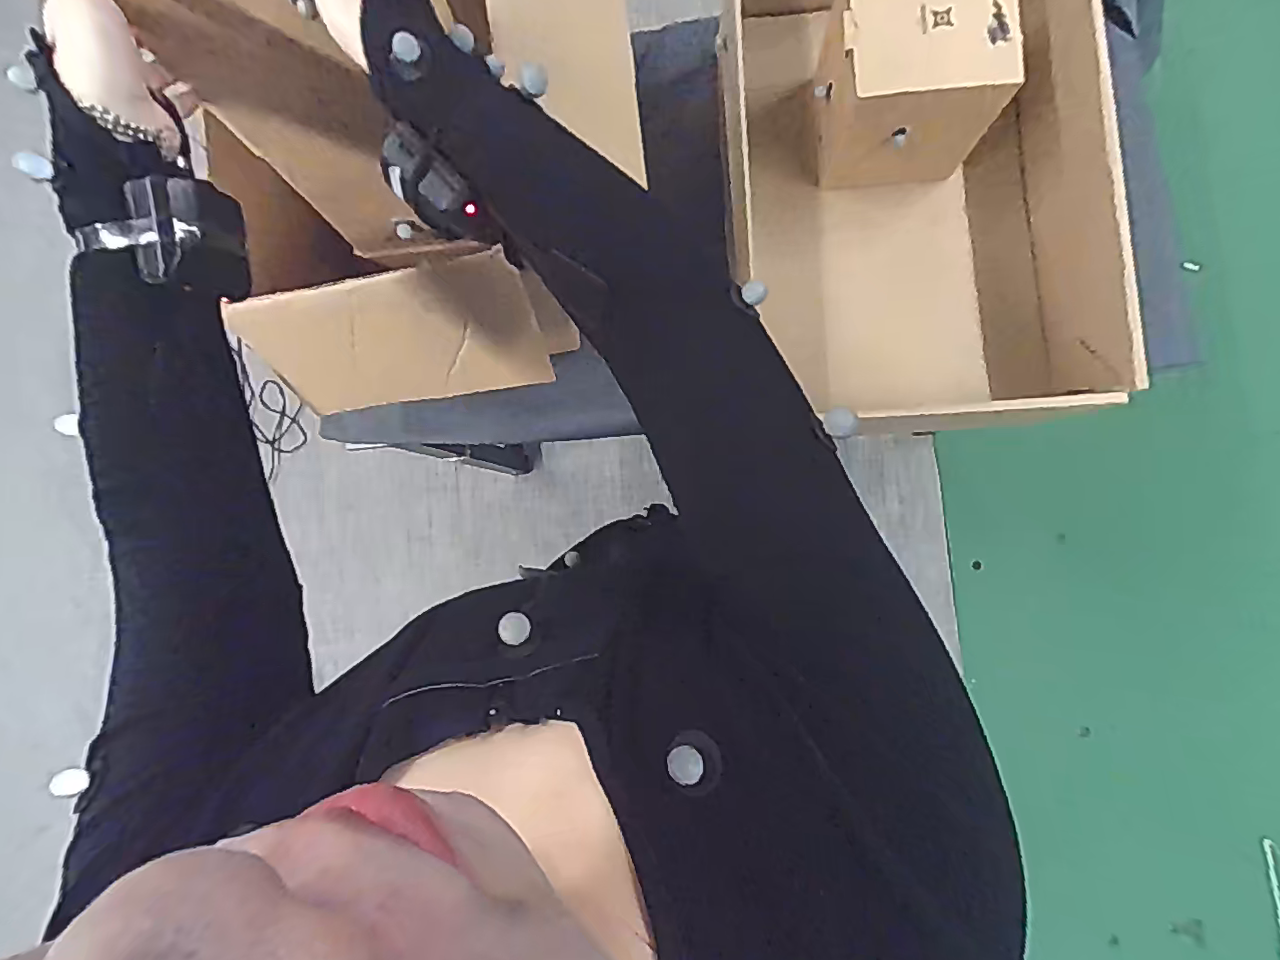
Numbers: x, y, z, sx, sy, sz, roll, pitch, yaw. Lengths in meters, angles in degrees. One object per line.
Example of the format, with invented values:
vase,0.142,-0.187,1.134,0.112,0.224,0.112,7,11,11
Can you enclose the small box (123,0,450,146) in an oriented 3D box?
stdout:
small box,-0.262,-0.385,0.408,0.179,0.176,0.168,-5,85,0

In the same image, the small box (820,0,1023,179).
small box,0.321,-0.494,0.657,0.179,0.176,0.168,-2,88,7
